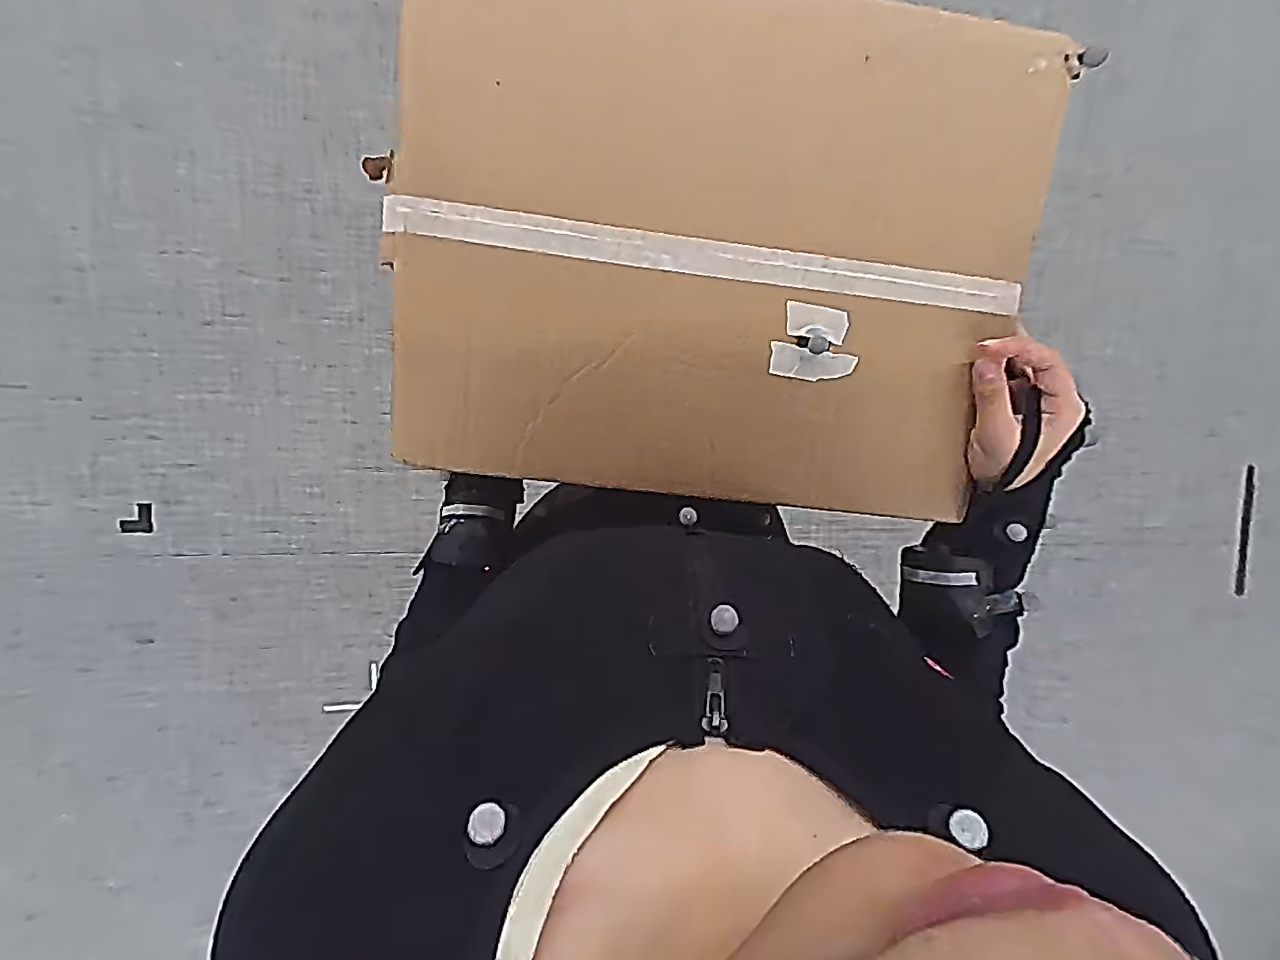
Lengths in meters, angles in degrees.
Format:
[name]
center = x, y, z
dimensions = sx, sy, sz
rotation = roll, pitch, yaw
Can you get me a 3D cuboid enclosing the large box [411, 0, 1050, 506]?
[large box]
center = 0.040, -0.173, 0.500
dimensions = 0.408, 0.320, 0.320
rotation = 5, 102, -6
